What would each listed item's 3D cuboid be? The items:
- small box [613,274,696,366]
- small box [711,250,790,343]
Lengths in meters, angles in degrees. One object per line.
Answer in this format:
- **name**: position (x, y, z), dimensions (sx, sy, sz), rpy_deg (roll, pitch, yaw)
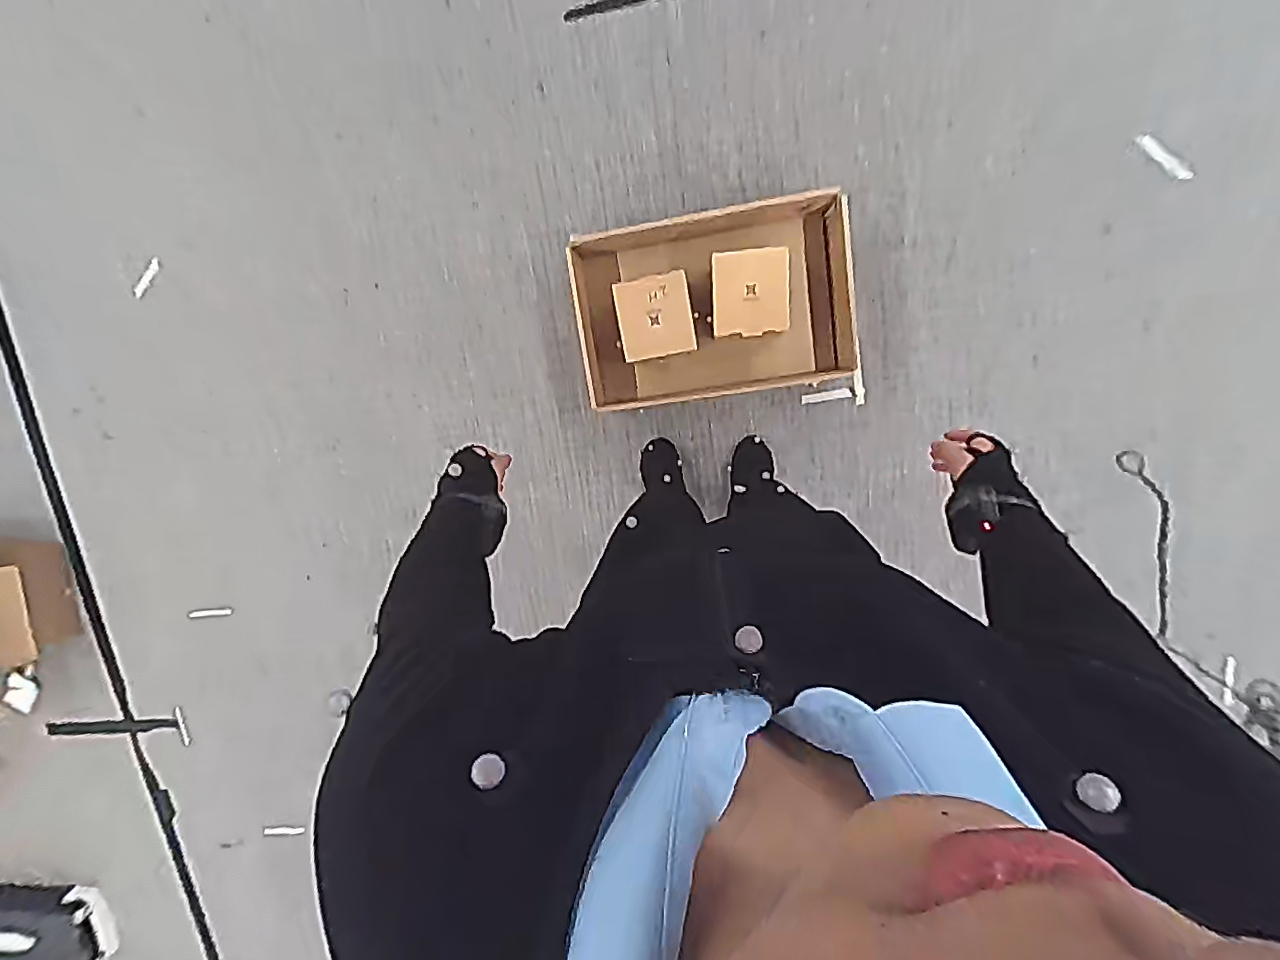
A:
- **small box**: position (0.041, -0.371, 1.283), dimensions (0.168, 0.176, 0.179), rpy_deg (-9, 100, 6)
- **small box**: position (0.252, -0.418, 1.255), dimensions (0.168, 0.176, 0.179), rpy_deg (-2, 101, 7)
